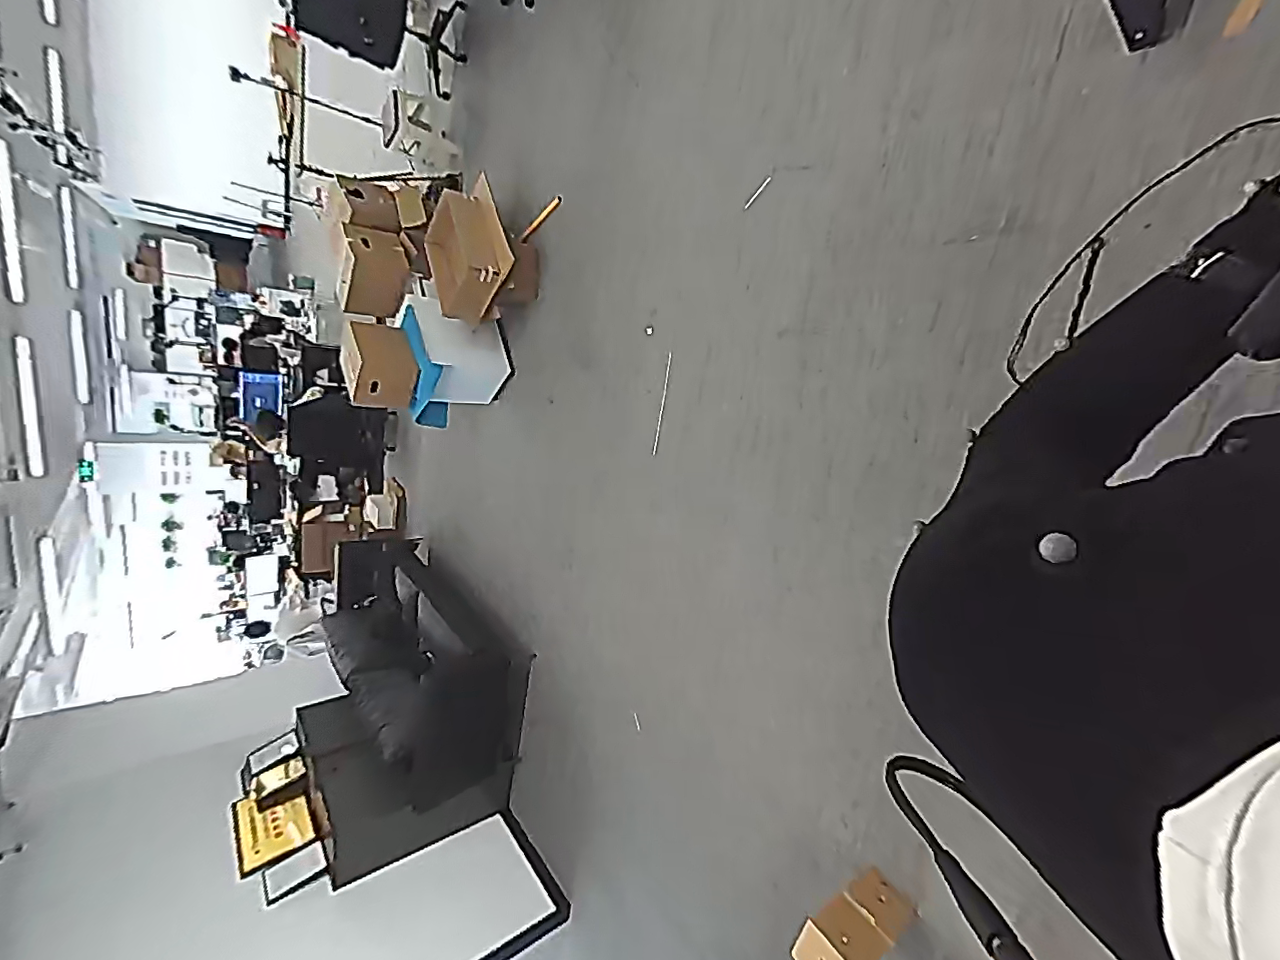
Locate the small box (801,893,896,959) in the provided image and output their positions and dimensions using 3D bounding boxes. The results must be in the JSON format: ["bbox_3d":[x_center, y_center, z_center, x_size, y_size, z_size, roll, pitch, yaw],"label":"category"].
[{"bbox_3d":[0.615,1.374,1.596,0.179,0.176,0.168,33,117,44],"label":"small box"}]

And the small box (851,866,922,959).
[{"bbox_3d":[0.748,1.363,1.689,0.168,0.176,0.179,36,118,44],"label":"small box"}]
